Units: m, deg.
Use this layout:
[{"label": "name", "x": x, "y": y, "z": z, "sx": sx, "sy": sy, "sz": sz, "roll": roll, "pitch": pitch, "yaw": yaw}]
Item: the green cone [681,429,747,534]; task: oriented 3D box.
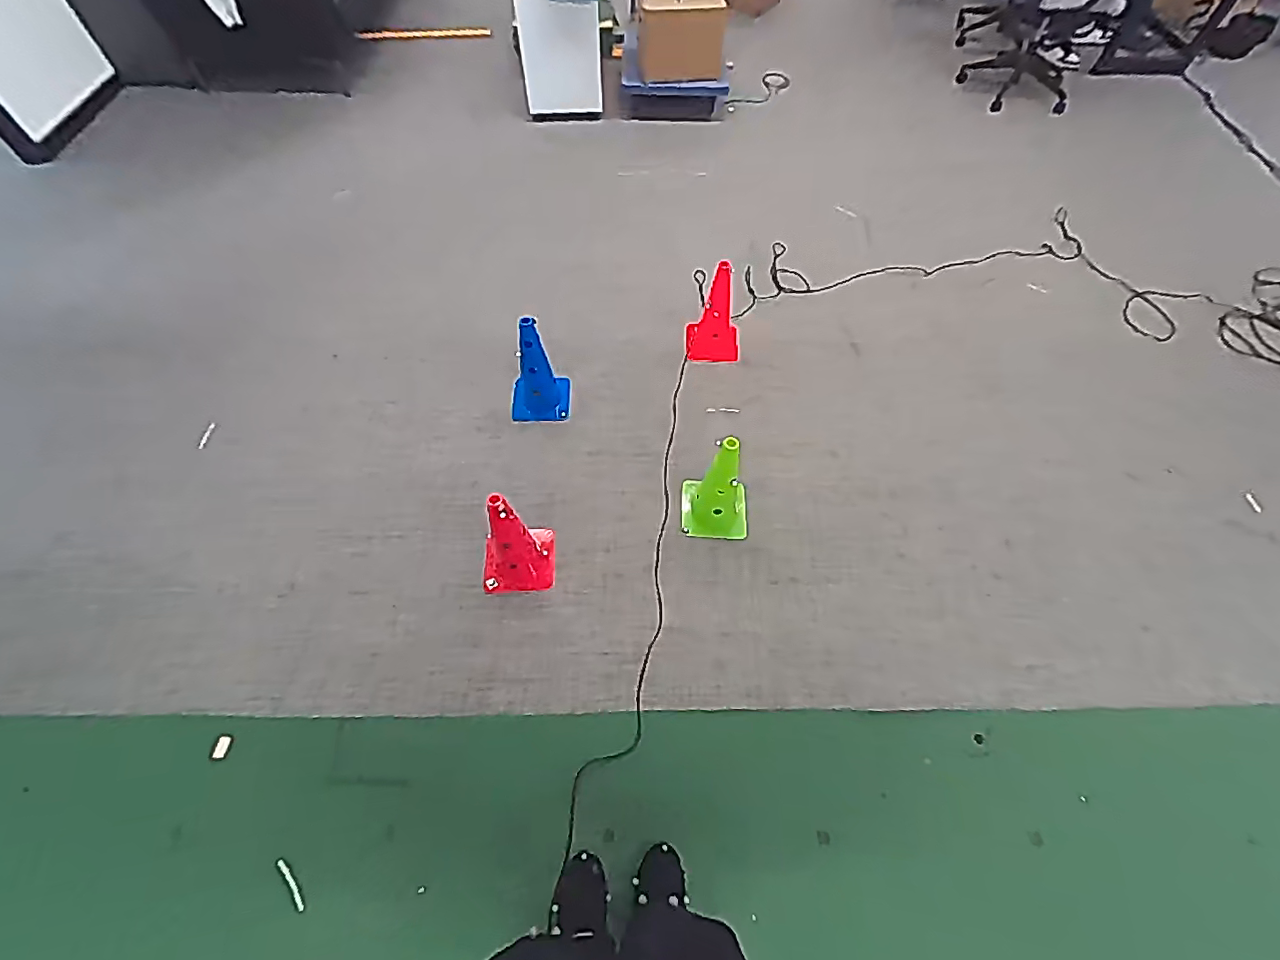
[{"label": "green cone", "x": 0.234, "y": -0.015, "z": 1.548, "sx": 0.200, "sy": 0.368, "sz": 0.202, "roll": 2, "pitch": 57, "yaw": 0}]

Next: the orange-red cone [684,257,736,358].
[{"label": "orange-red cone", "x": 0.269, "y": -0.634, "z": 1.938, "sx": 0.198, "sy": 0.360, "sz": 0.199, "roll": 3, "pitch": 60, "yaw": 2}]
